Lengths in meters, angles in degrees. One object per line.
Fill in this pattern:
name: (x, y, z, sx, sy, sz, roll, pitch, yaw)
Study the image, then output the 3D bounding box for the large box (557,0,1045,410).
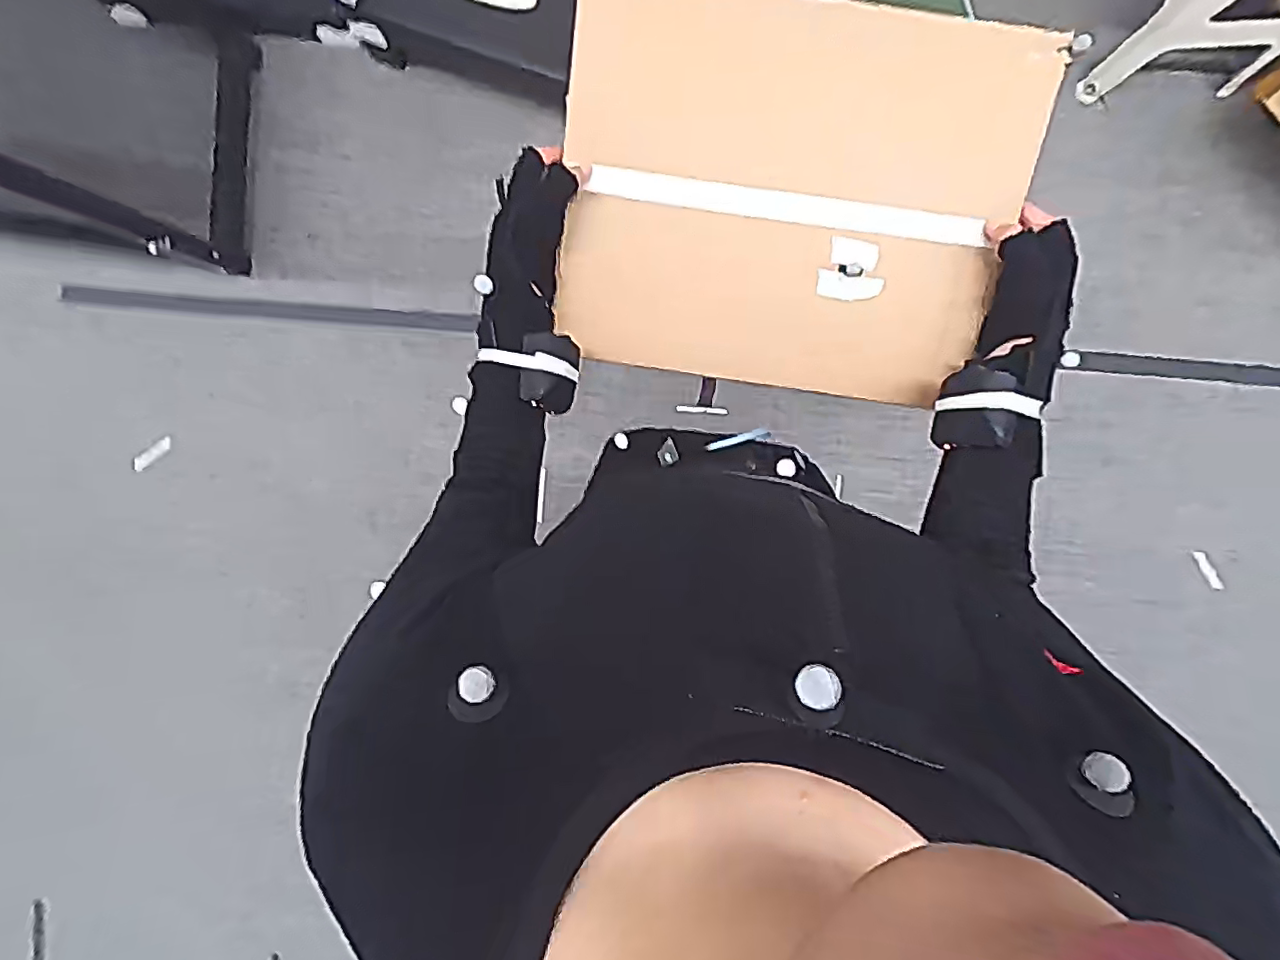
large box: (0.134, -0.279, 0.641, 0.408, 0.320, 0.320, 8, 106, -1)
